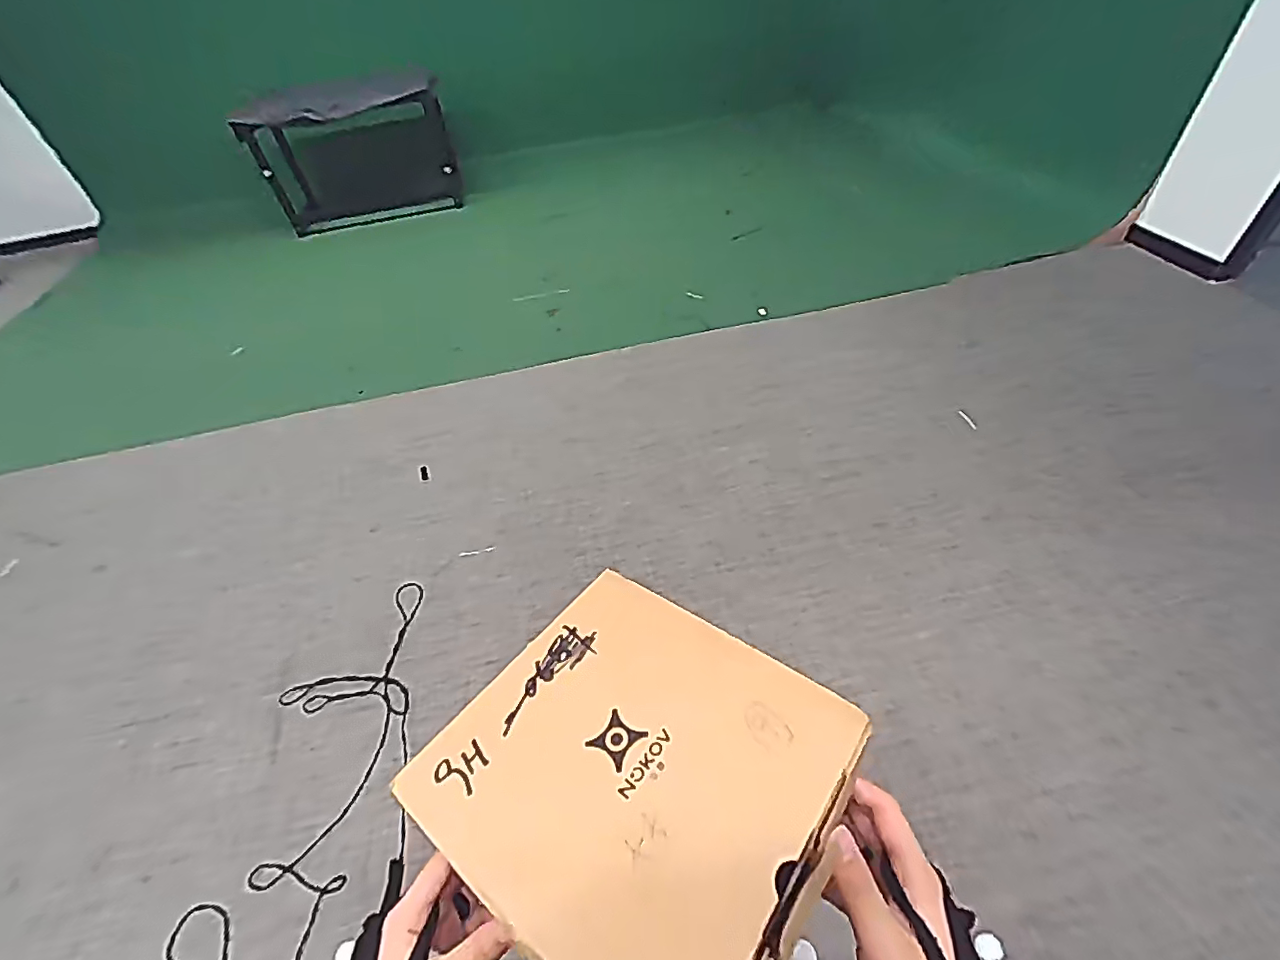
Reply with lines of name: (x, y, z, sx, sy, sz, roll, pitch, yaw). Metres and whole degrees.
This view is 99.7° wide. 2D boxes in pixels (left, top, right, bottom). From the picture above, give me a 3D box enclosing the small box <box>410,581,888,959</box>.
small box: (0.011, 0.200, 0.312, 0.179, 0.176, 0.168, 25, 49, 34)
